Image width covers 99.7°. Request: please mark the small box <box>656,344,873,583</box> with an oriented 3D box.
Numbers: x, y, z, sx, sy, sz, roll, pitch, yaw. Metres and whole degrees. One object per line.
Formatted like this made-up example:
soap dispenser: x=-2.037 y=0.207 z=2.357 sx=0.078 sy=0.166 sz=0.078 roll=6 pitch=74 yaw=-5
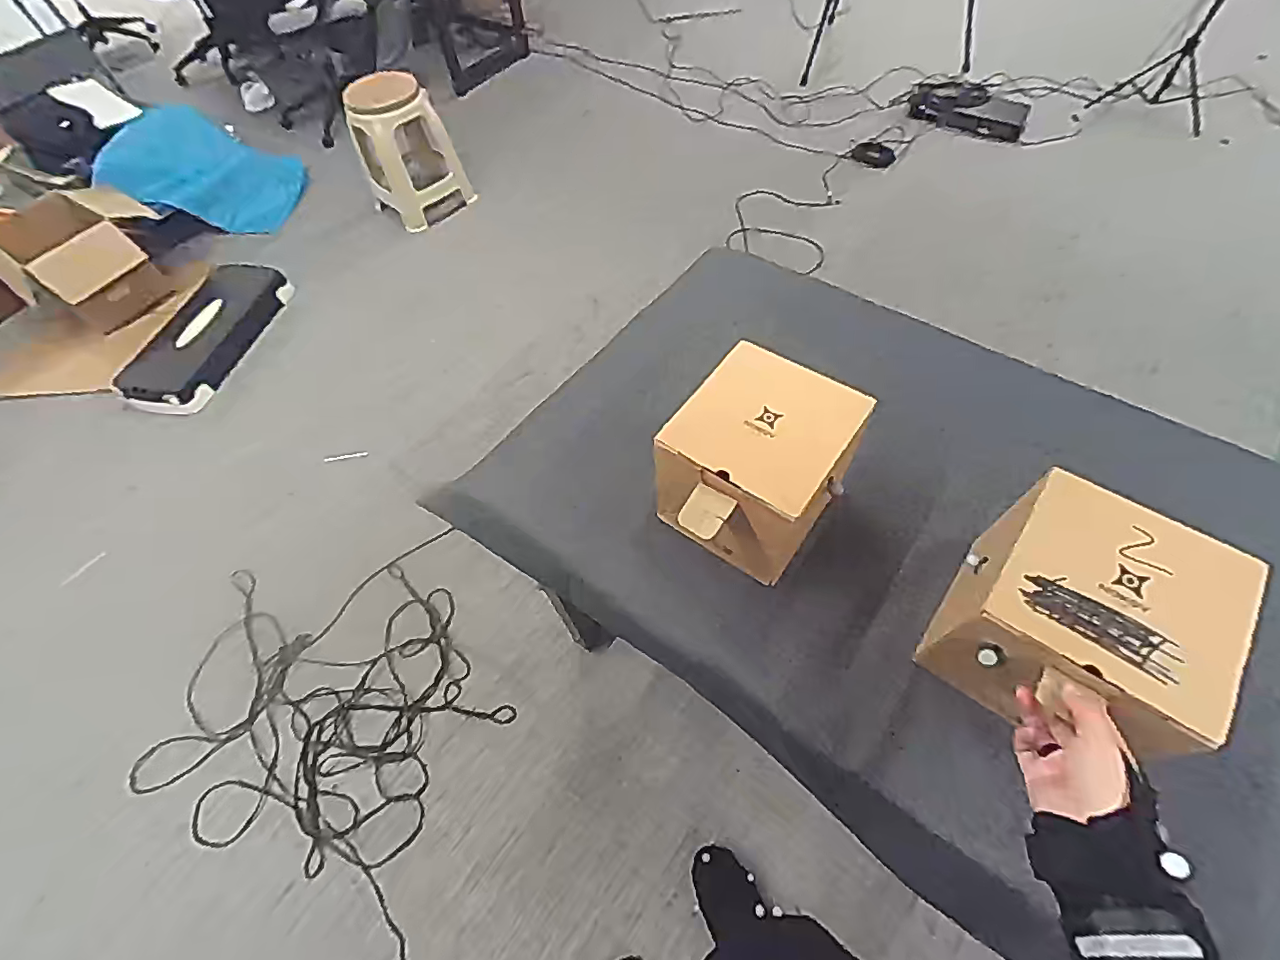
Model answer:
small box: x=0.132 y=-0.015 z=0.622 sx=0.168 sy=0.176 sz=0.179 roll=31 pitch=65 yaw=20
